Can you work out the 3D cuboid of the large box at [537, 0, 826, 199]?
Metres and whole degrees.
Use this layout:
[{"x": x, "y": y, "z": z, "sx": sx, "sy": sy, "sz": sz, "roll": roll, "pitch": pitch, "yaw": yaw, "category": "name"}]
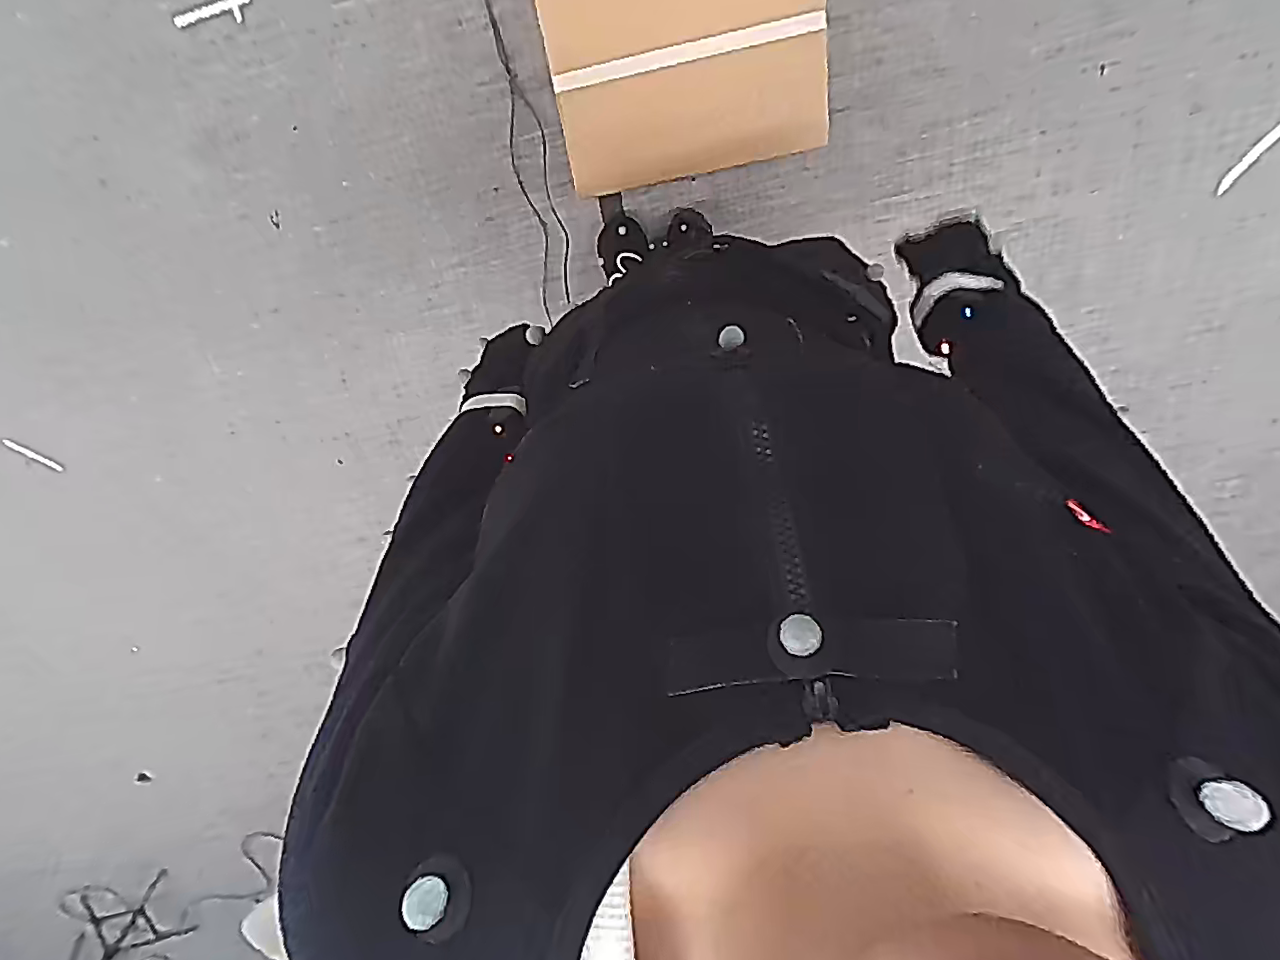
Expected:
[{"x": 0.068, "y": -0.696, "z": 0.929, "sx": 0.408, "sy": 0.320, "sz": 0.320, "roll": -9, "pitch": 119, "yaw": 5, "category": "large box"}]
